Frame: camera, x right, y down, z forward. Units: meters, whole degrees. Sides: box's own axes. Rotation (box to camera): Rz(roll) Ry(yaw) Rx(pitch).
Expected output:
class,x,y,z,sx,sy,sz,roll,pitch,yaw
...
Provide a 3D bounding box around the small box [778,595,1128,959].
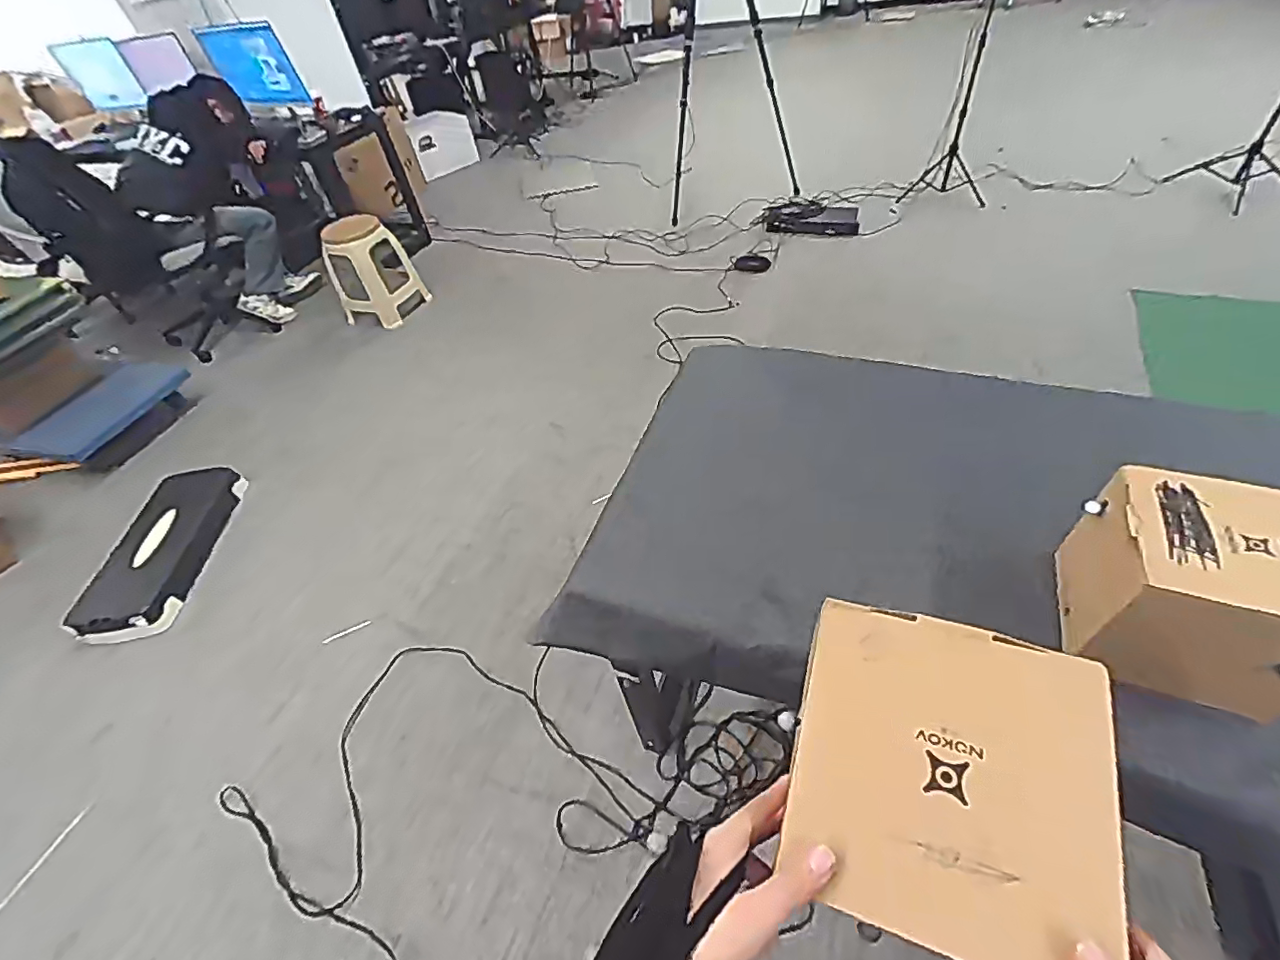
class,x,y,z,sx,sy,sz,roll,pitch,yaw
small box,0.194,0.208,0.379,0.168,0.176,0.179,11,62,20
